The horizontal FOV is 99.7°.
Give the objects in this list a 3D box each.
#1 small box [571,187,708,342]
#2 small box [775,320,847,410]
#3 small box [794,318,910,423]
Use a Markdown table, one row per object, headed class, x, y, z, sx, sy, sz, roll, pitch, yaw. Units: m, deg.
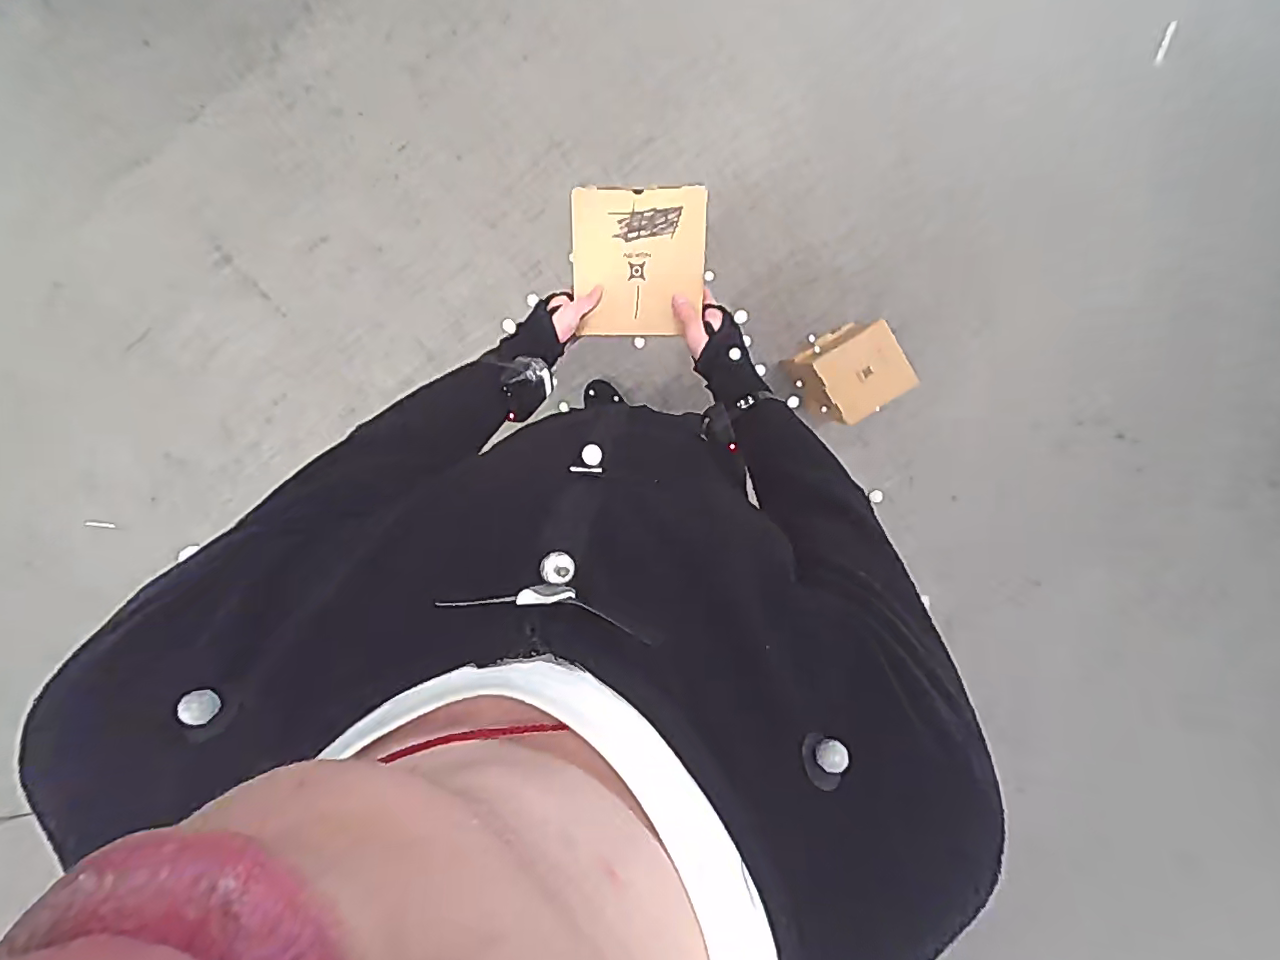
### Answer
| class | x | y | z | sx | sy | sz | roll | pitch | yaw |
| --- | --- | --- | --- | --- | --- | --- | --- | --- | --- |
| small box | 0.002 | -0.286 | 0.749 | 0.168 | 0.176 | 0.179 | 4 | 105 | 4 |
| small box | 0.483 | -0.296 | 1.434 | 0.168 | 0.176 | 0.179 | -35 | 99 | 6 |
| small box | 0.479 | -0.251 | 1.258 | 0.179 | 0.176 | 0.168 | -33 | 100 | 6 |
